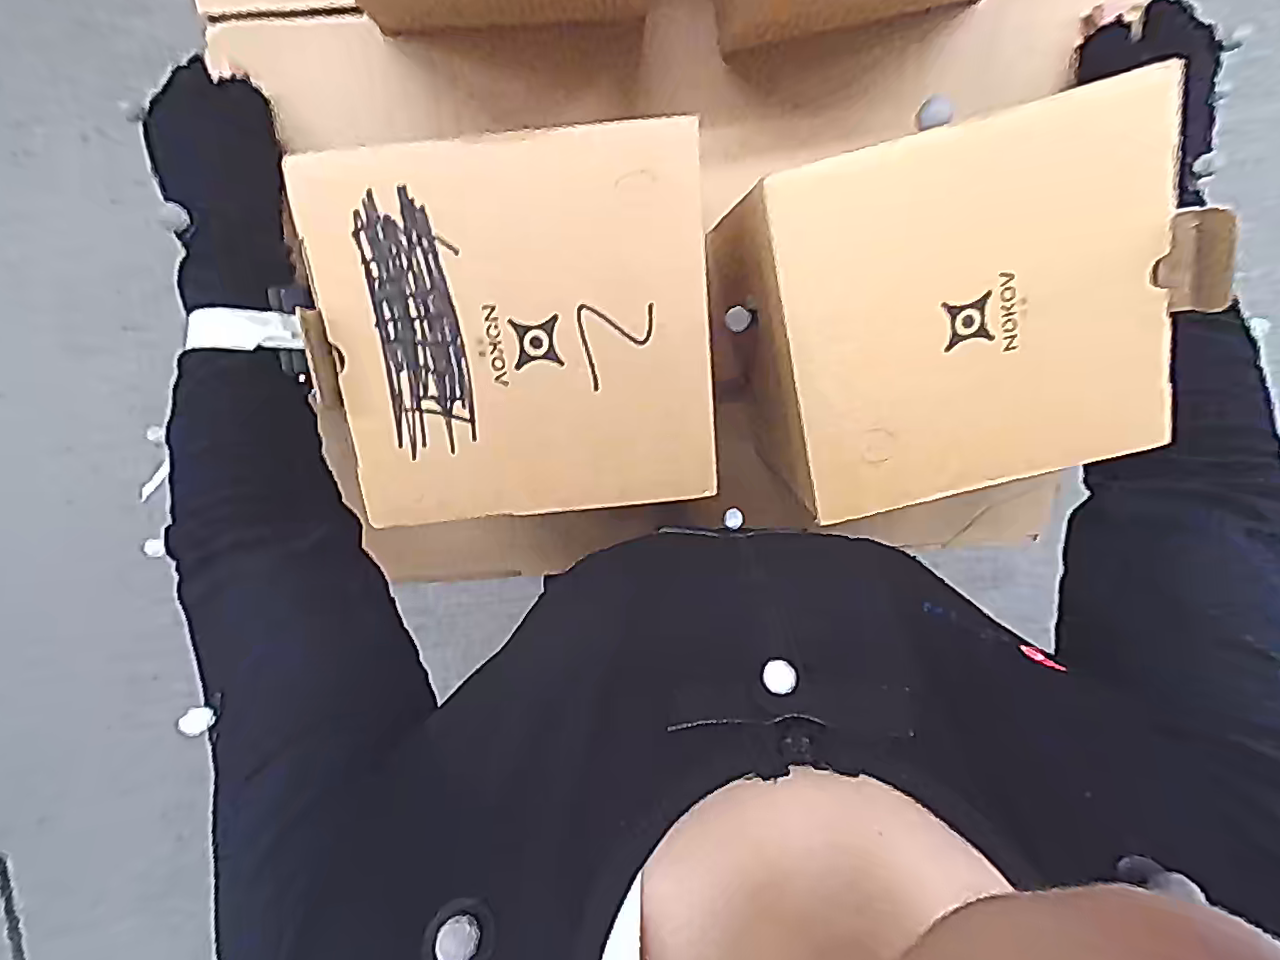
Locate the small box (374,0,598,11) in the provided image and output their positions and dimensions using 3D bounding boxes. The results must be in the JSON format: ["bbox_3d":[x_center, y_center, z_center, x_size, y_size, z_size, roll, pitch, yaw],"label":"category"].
[{"bbox_3d":[-0.088,-0.363,0.252,0.179,0.176,0.168,-2,104,0],"label":"small box"}]
